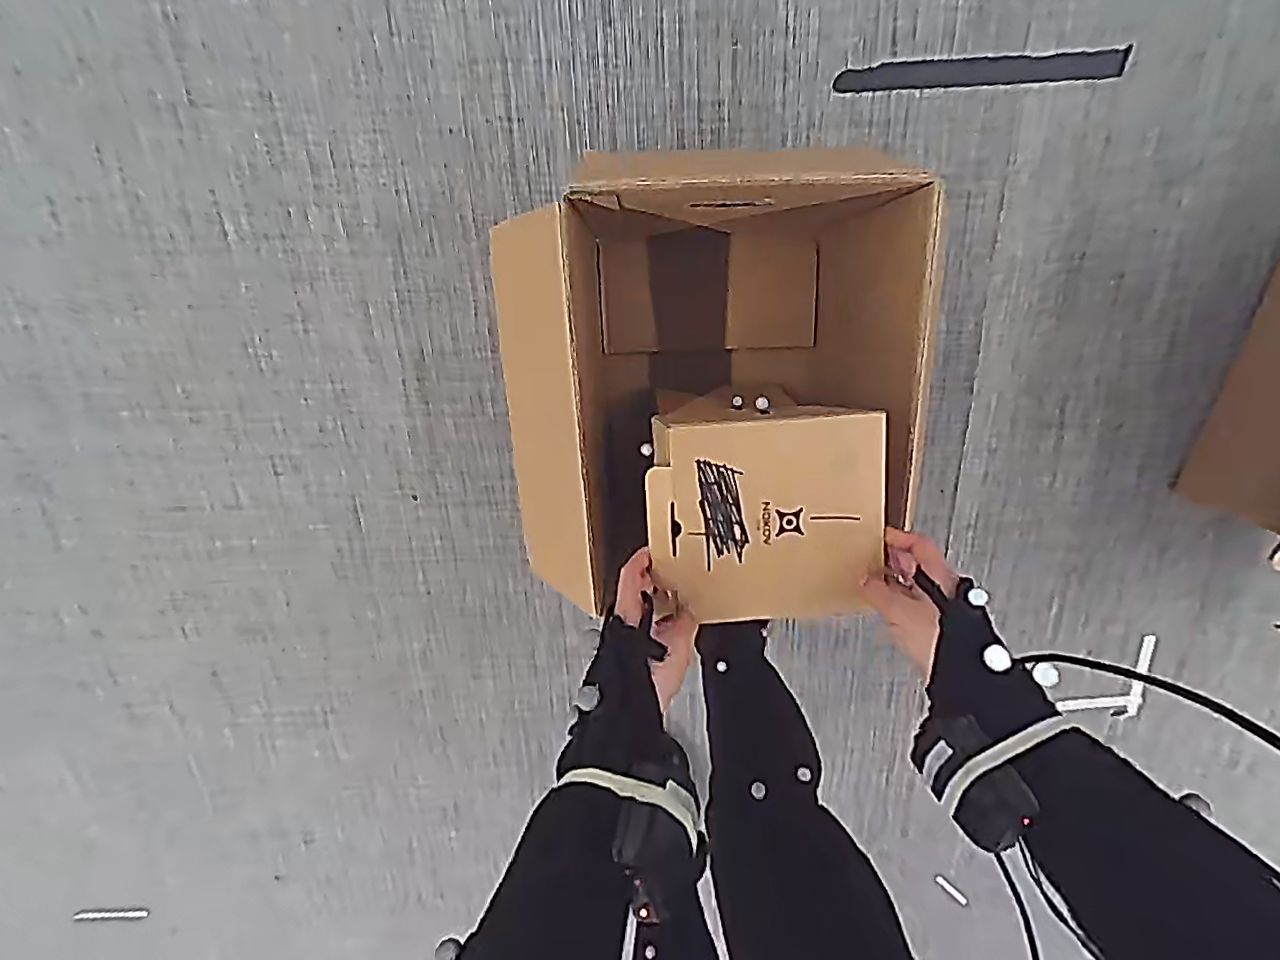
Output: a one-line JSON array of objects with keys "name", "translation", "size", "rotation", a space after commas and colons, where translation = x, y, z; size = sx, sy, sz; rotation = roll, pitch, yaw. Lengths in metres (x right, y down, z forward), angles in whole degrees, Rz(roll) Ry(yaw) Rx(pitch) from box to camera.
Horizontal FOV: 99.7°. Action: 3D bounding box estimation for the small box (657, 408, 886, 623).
[{"name": "small box", "translation": [0.108, 0.020, 0.513], "size": [0.179, 0.176, 0.168], "rotation": [-4, 100, -2]}]
